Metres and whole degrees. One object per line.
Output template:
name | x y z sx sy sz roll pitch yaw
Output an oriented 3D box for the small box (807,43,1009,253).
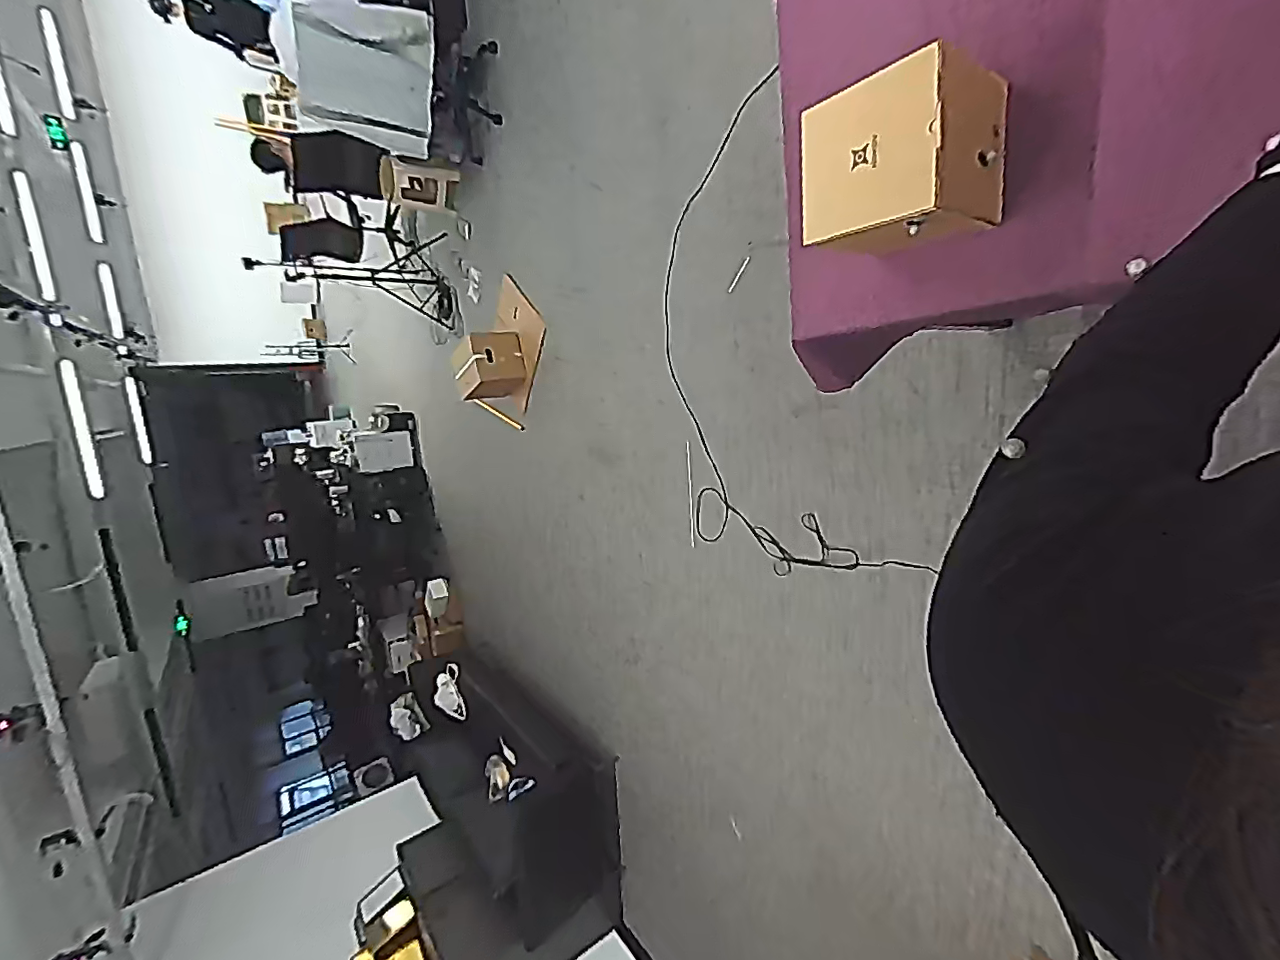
small box | 0.339 -0.403 0.698 0.179 0.176 0.168 9 106 53
